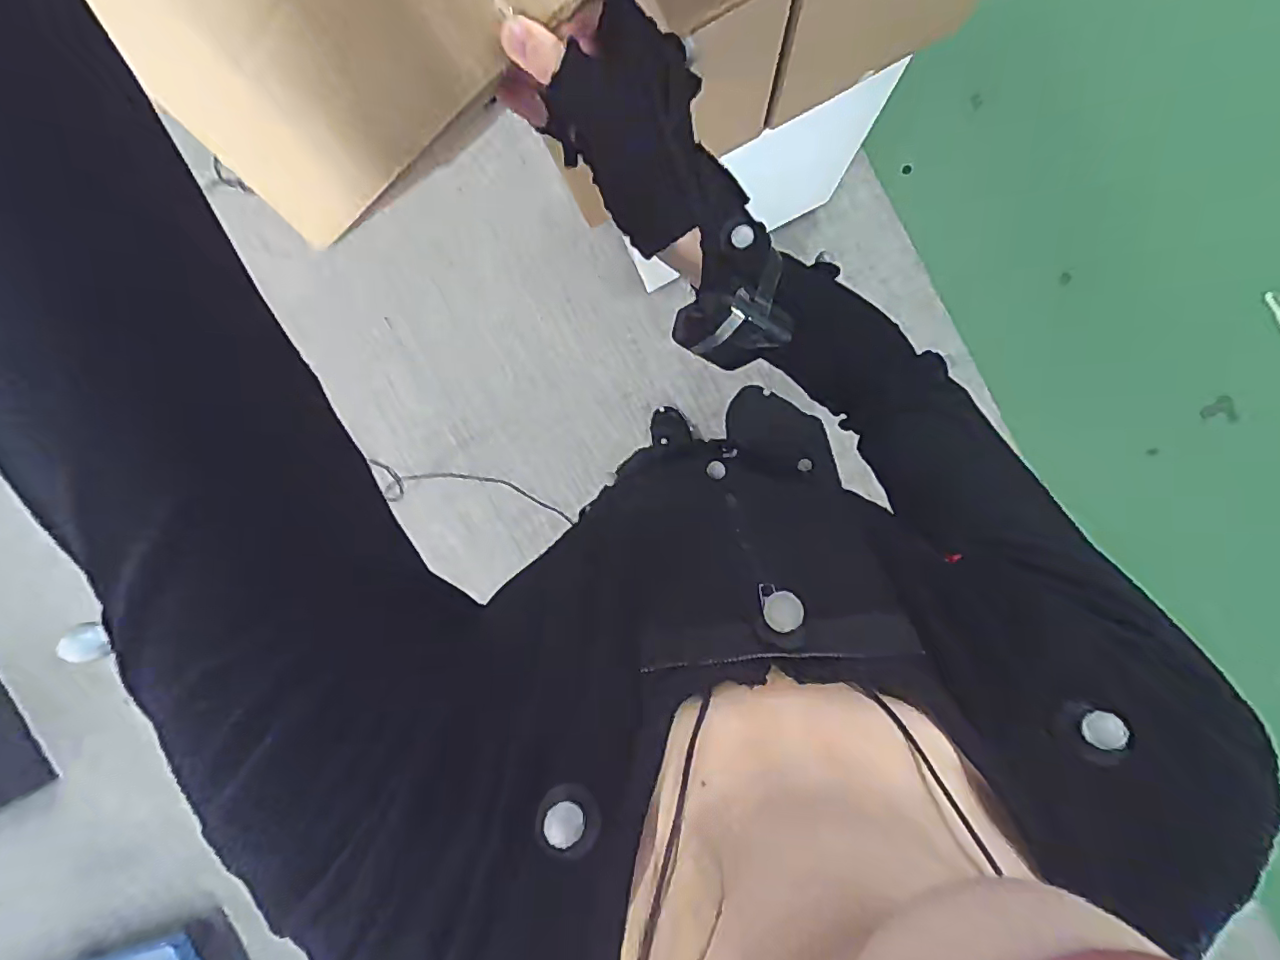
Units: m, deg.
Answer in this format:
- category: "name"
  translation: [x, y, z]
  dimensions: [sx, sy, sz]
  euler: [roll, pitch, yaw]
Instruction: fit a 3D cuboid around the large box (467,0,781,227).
- category: "large box"
  translation: [-0.049, -0.639, 0.715]
  dimensions: [0.320, 0.320, 0.408]
  euler: [-26, 91, 8]
